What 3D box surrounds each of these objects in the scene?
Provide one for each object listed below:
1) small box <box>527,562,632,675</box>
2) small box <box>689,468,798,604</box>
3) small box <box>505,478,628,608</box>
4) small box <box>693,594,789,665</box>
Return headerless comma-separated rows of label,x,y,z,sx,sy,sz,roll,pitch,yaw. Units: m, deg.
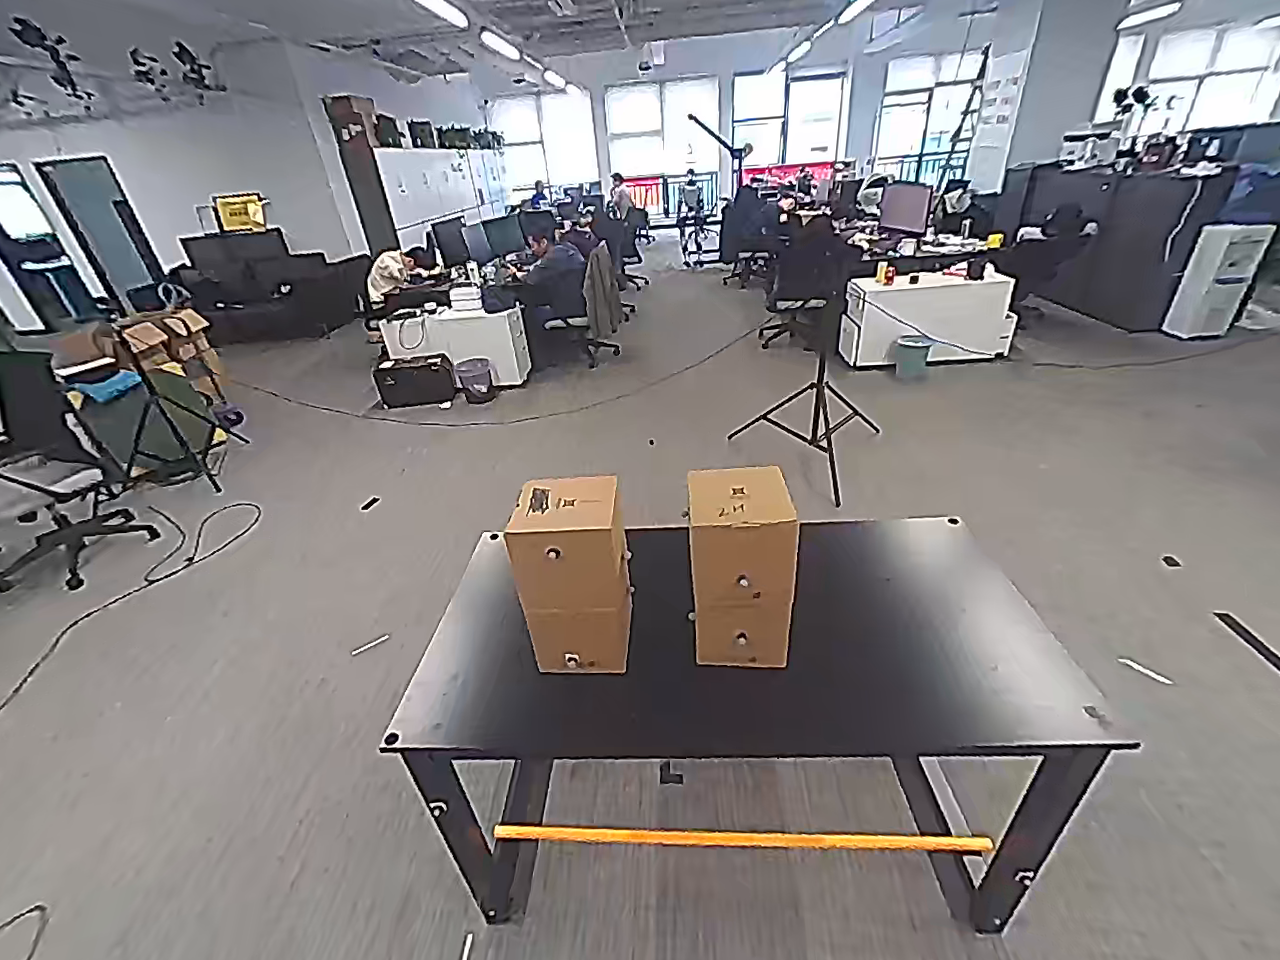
small box,-0.107,0.252,1.049,0.168,0.176,0.179,-3,31,5
small box,0.171,0.095,0.942,0.168,0.176,0.179,-3,31,5
small box,-0.120,0.112,0.964,0.179,0.176,0.168,-3,31,4
small box,0.191,0.232,1.034,0.168,0.176,0.179,-1,31,8
